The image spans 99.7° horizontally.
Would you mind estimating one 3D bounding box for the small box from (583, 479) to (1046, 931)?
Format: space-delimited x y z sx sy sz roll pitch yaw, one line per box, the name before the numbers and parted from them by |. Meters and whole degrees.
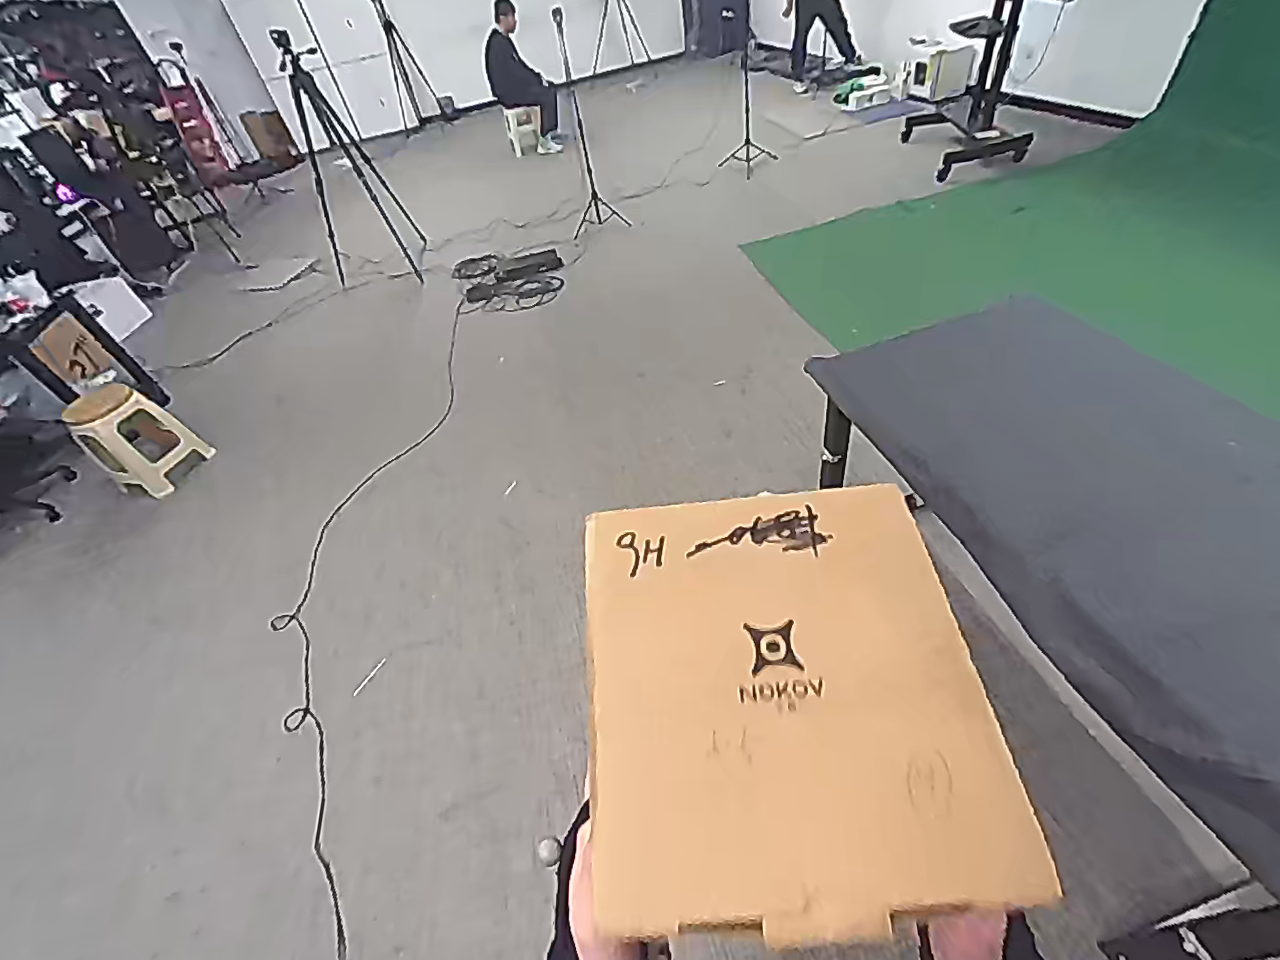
small box | 0.060 0.121 0.300 0.168 0.176 0.179 -4 56 -1
